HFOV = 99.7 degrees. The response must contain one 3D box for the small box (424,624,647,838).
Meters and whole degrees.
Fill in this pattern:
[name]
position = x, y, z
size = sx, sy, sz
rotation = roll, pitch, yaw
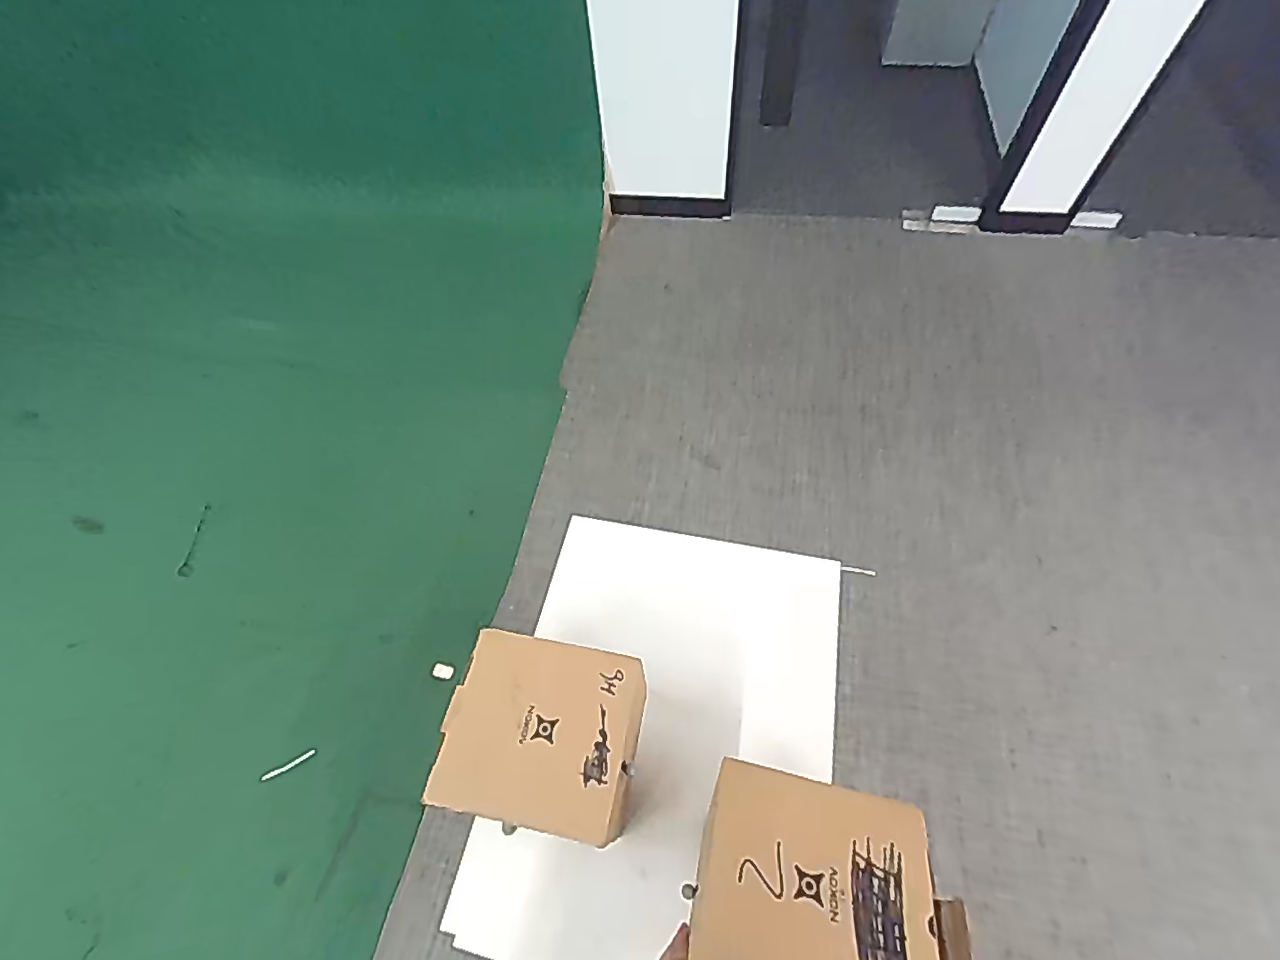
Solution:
[small box]
position = -0.095, 0.276, 0.593
size = 0.179, 0.176, 0.168
rotation = 9, 59, 9
